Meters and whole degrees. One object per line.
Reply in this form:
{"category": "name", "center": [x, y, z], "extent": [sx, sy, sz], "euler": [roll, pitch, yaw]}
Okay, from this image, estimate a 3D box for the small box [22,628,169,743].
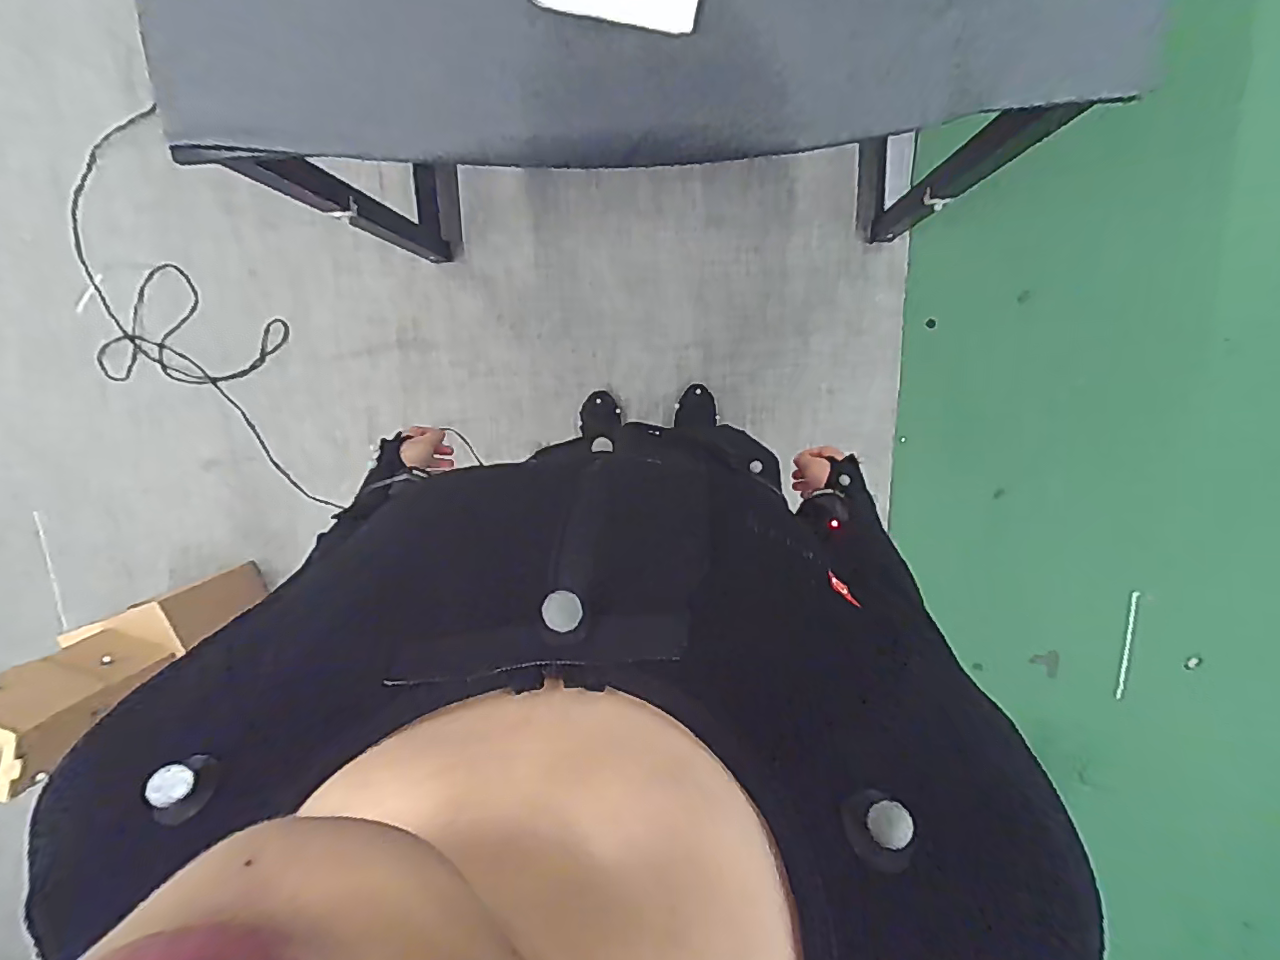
{"category": "small box", "center": [-1.273, 0.476, 1.276], "extent": [0.179, 0.176, 0.168], "euler": [20, 101, -3]}
